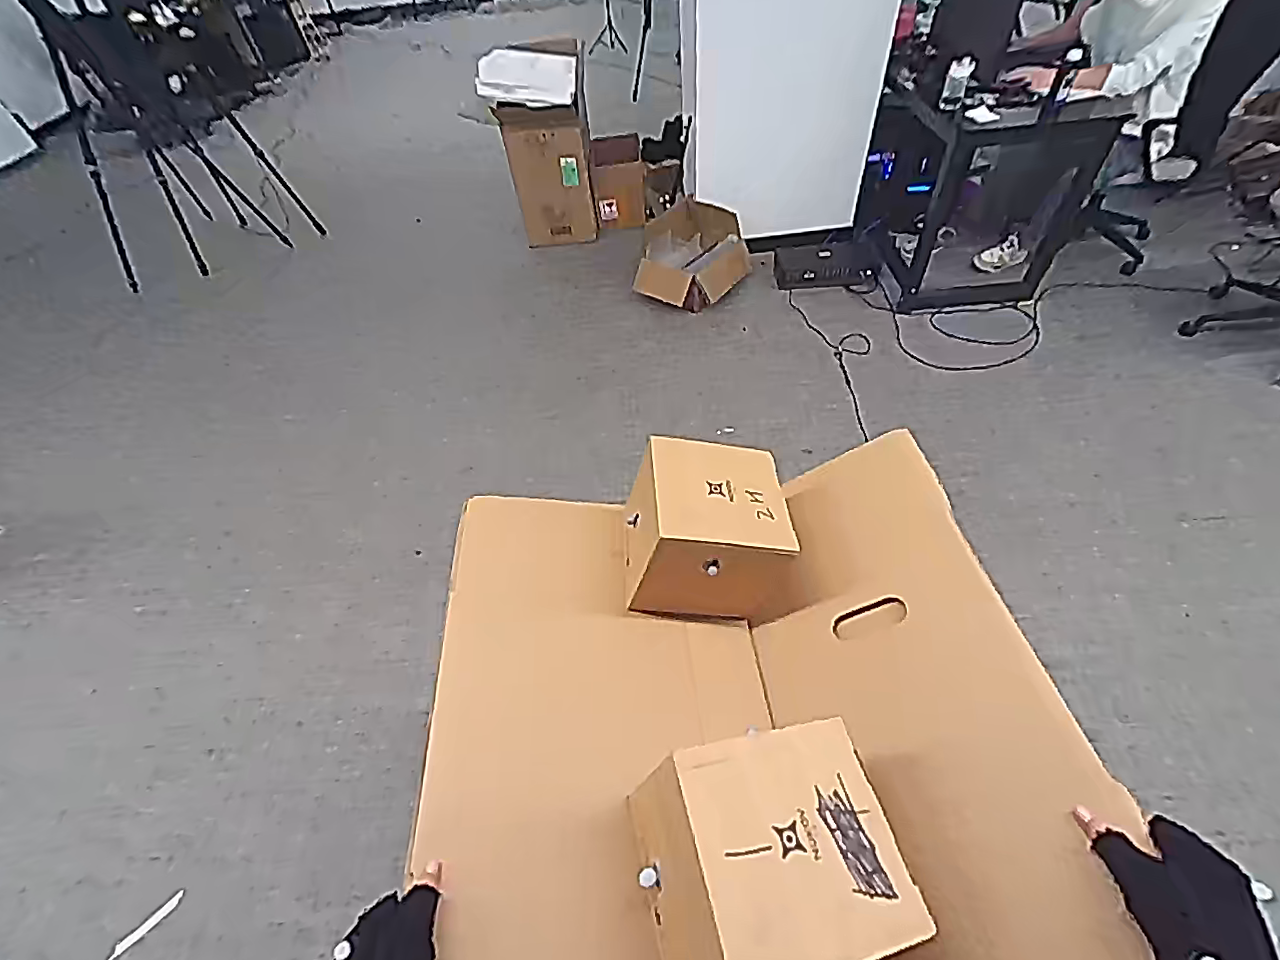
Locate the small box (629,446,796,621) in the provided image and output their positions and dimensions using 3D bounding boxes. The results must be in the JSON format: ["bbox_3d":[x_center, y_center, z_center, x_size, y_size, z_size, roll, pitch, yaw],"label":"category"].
[{"bbox_3d":[0.082,0.078,0.739,0.179,0.176,0.168,8,47,-12],"label":"small box"}]

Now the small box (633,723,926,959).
[{"bbox_3d":[0.108,0.347,0.501,0.179,0.176,0.168,-2,49,-19],"label":"small box"}]
